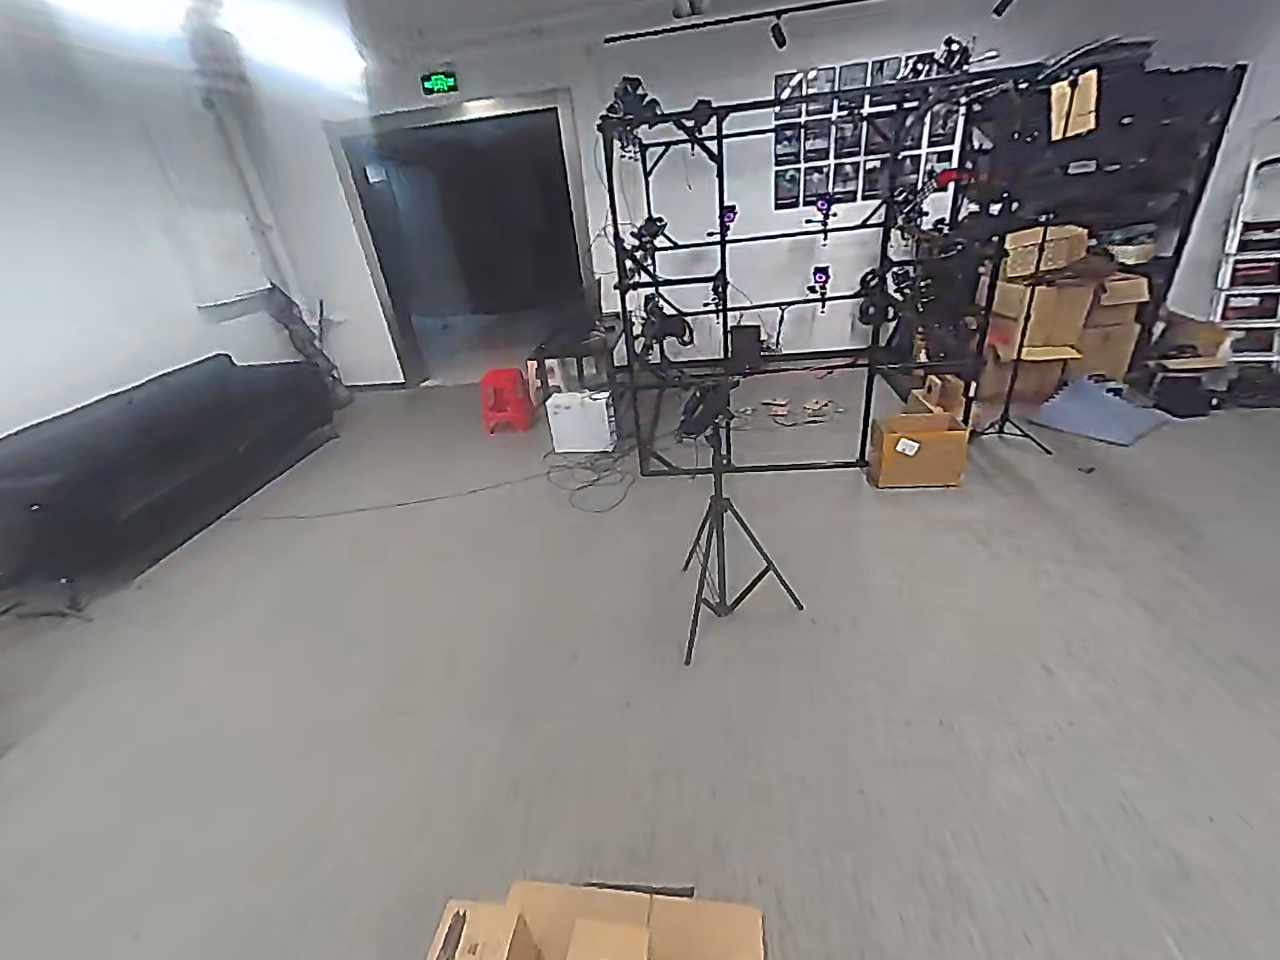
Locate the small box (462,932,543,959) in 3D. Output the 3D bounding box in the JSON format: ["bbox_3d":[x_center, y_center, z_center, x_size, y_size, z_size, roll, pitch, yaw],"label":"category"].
[{"bbox_3d":[-0.323,1.190,1.246,0.179,0.176,0.168,-3,28,10],"label":"small box"}]

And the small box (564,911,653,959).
[{"bbox_3d":[-0.067,1.044,1.117,0.168,0.176,0.179,0,29,11],"label":"small box"}]
